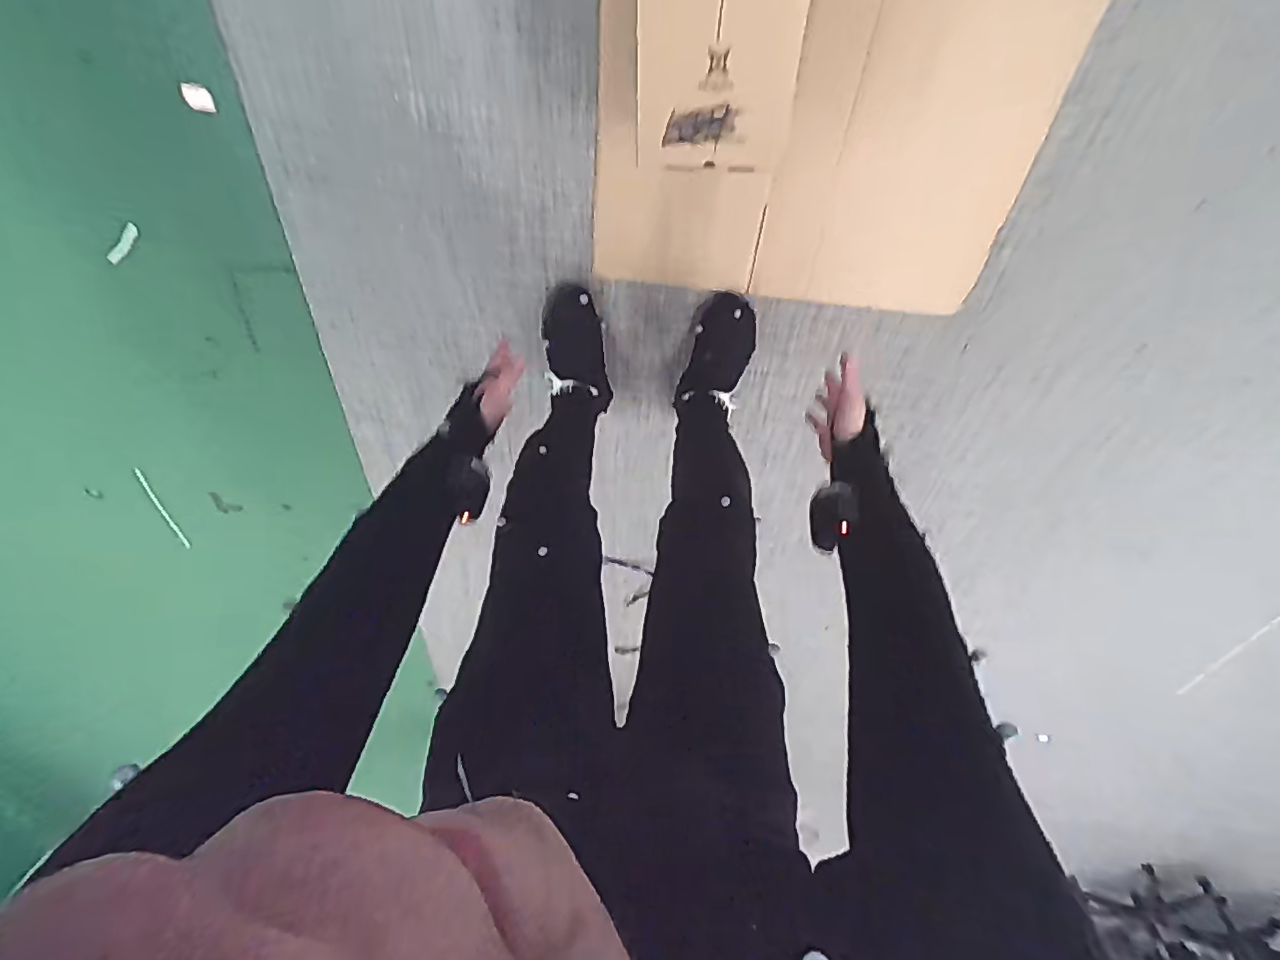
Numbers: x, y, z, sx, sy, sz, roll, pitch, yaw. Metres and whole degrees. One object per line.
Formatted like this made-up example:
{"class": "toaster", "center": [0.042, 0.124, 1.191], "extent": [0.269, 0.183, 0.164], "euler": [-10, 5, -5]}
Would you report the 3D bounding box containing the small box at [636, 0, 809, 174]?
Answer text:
{"class": "small box", "center": [0.086, -0.465, 0.614], "extent": [0.168, 0.176, 0.179], "euler": [3, 129, 4]}
